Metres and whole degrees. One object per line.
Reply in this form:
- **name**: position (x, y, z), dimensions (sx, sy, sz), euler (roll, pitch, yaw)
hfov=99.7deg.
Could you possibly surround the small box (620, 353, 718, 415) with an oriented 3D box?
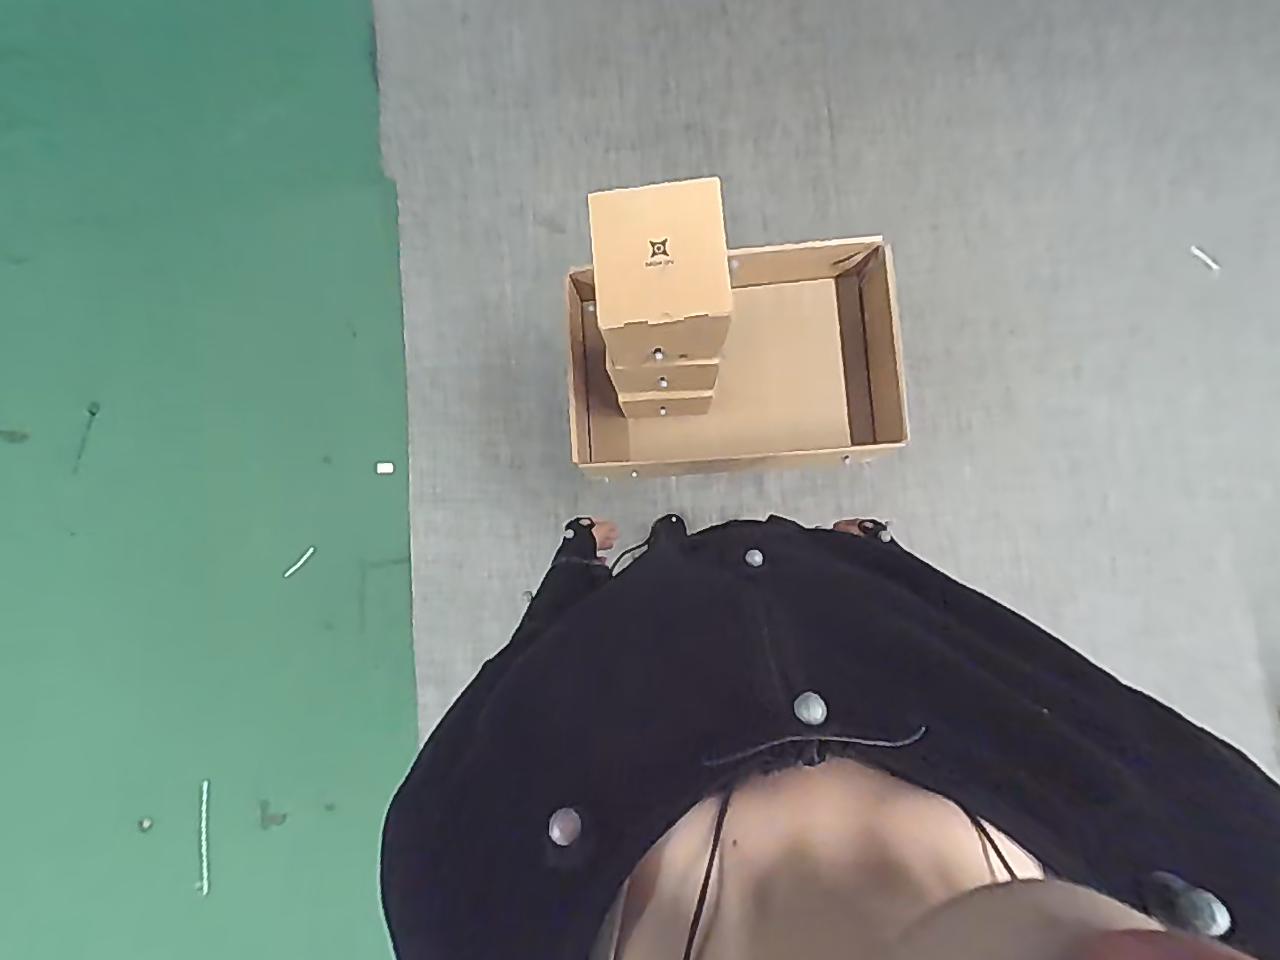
- **small box**: position (0.057, -0.225, 1.054), dimensions (0.179, 0.176, 0.168), euler (-3, 85, 5)

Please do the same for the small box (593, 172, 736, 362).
- **small box**: position (0.033, -0.275, 0.732), dimensions (0.168, 0.176, 0.179), euler (-5, 85, 4)
